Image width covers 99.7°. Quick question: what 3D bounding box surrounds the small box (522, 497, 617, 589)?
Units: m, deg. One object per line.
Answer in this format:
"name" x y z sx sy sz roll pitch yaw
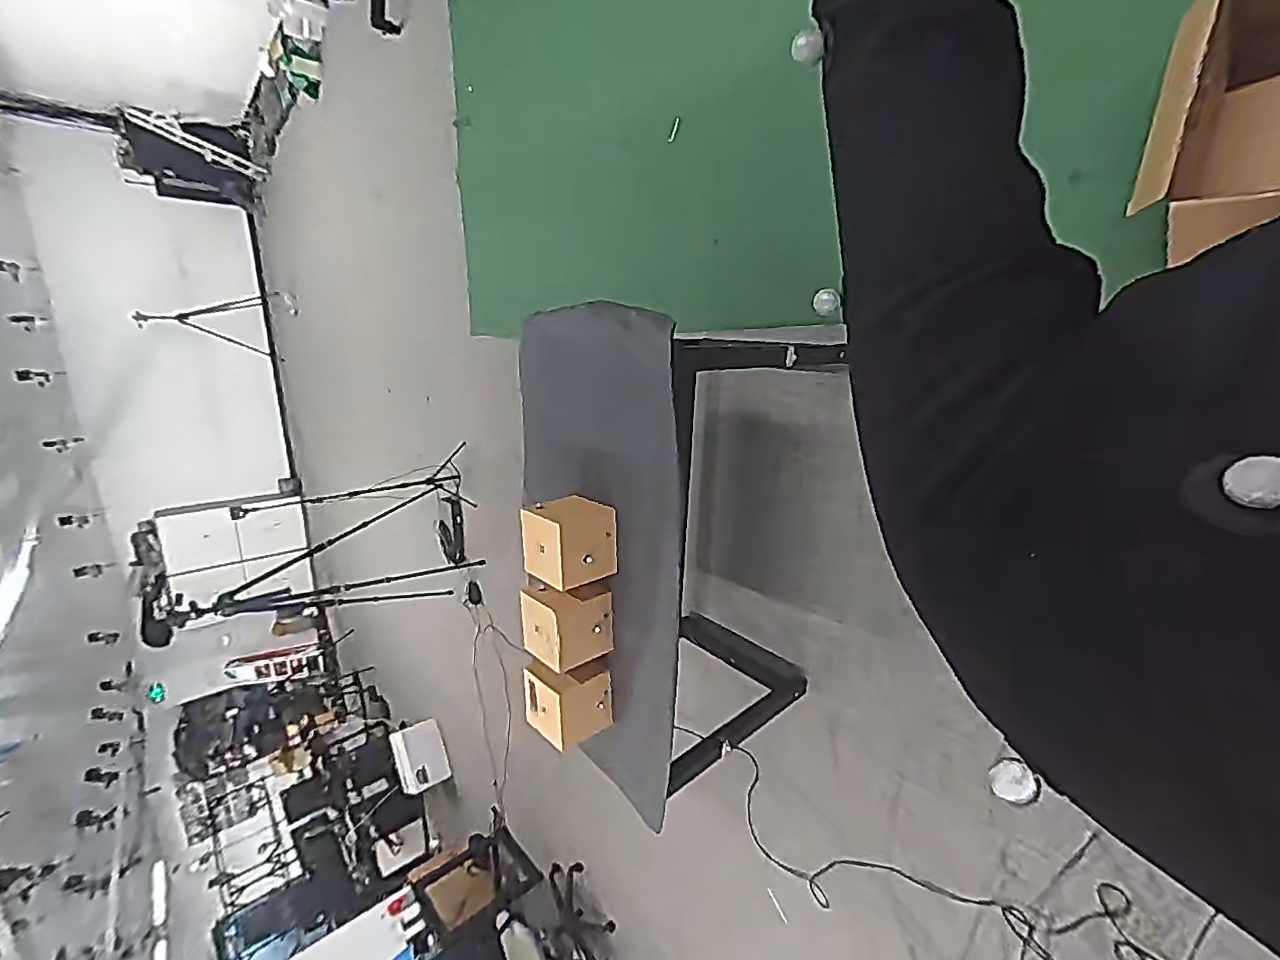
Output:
"small box" -0.168 0.145 1.326 0.179 0.176 0.168 14 110 48

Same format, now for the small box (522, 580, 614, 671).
"small box" -0.185 0.357 1.397 0.179 0.176 0.168 13 109 47
